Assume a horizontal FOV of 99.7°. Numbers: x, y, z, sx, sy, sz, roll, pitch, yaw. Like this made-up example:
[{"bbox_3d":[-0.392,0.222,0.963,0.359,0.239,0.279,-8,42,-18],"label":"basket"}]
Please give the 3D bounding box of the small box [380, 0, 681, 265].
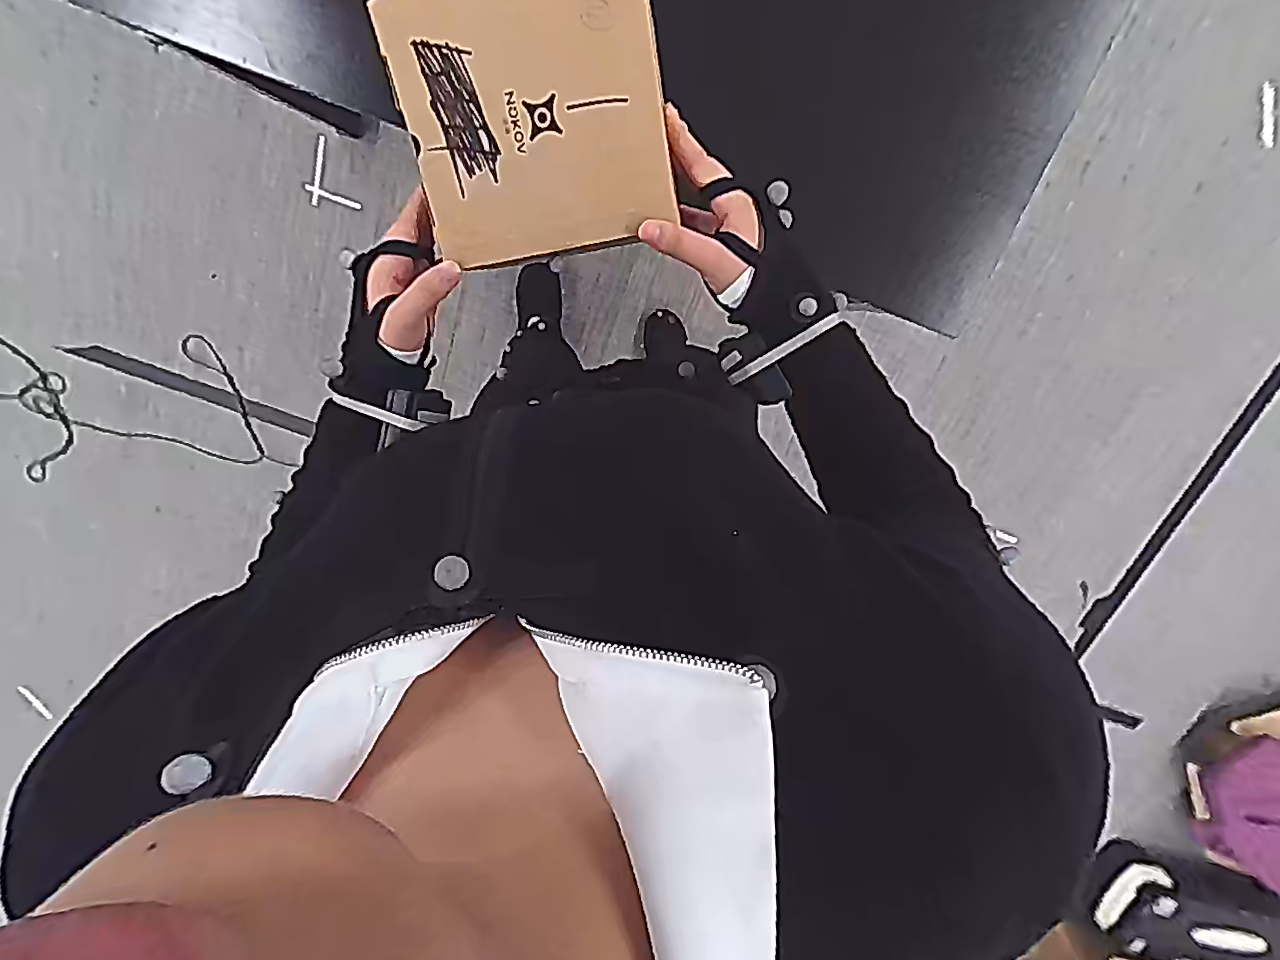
[{"bbox_3d":[-0.063,-0.271,0.433,0.179,0.176,0.168,-7,112,7],"label":"small box"}]
